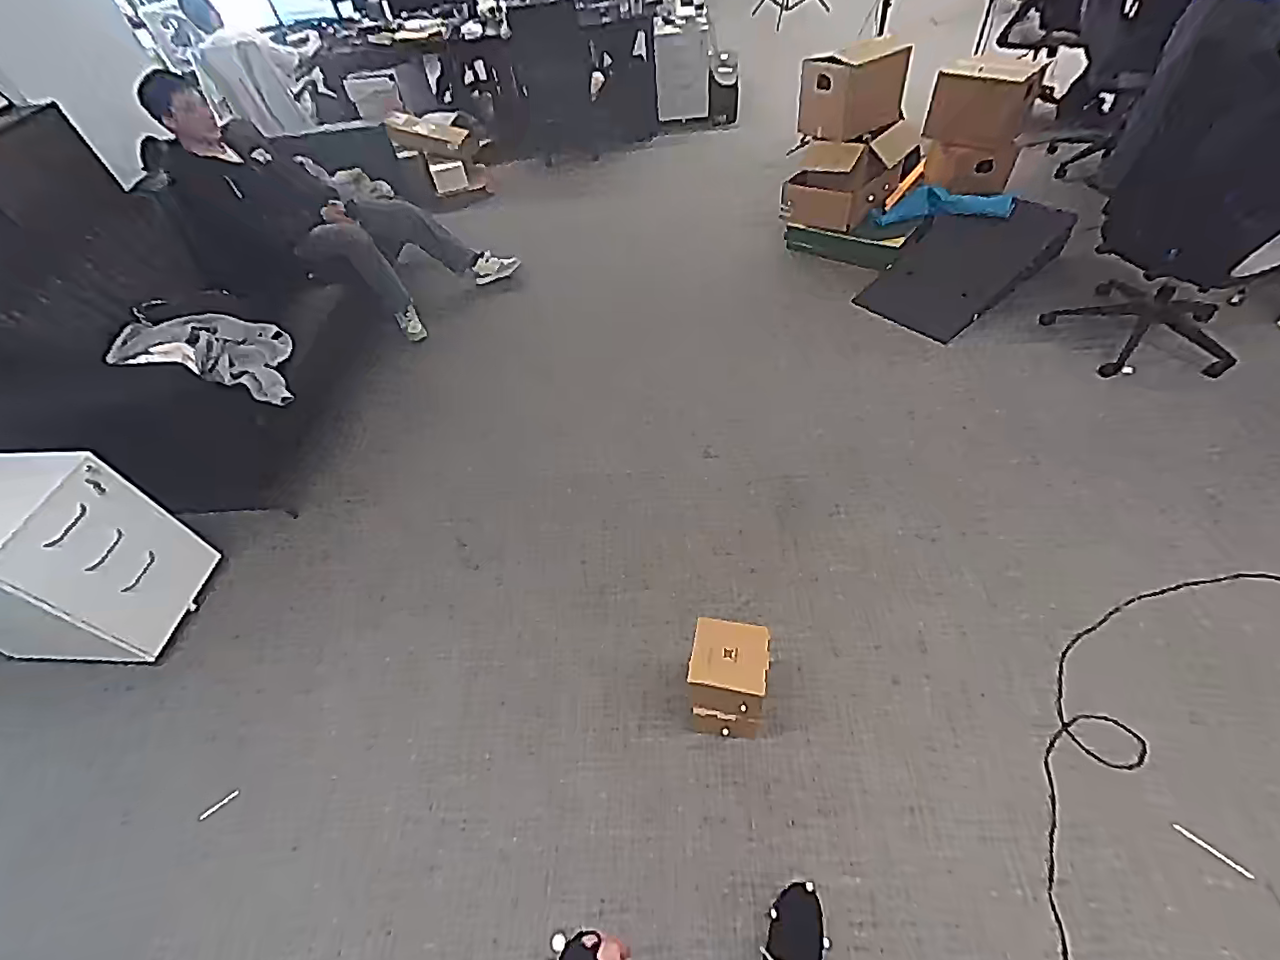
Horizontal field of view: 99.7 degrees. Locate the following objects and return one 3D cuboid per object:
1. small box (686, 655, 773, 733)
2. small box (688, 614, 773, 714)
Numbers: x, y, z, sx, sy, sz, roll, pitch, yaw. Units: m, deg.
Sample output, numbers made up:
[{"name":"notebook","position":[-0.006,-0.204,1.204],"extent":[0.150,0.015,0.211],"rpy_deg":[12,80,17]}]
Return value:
[{"name":"small box","position":[0.239,0.547,1.443],"extent":[0.179,0.176,0.168],"rpy_deg":[-21,49,-7]},{"name":"small box","position":[0.223,0.452,1.321],"extent":[0.179,0.176,0.168],"rpy_deg":[6,50,15]}]
